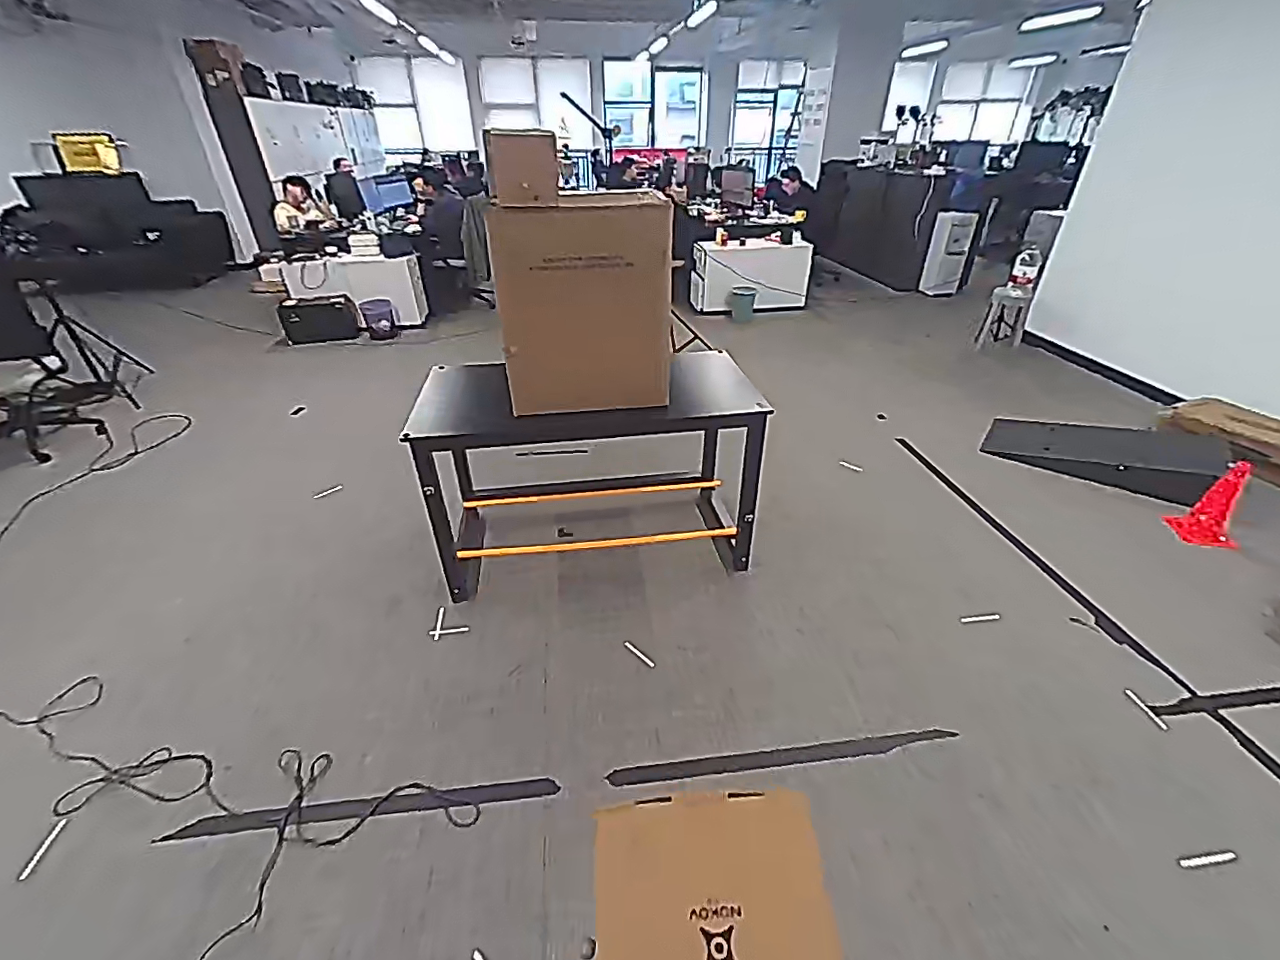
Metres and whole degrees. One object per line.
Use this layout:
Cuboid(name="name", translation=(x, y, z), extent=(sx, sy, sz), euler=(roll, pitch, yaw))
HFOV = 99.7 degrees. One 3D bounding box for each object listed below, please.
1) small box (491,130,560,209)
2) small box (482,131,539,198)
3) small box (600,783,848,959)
Cuboid(name="small box", translation=(-0.310, -0.845, 1.470), extent=(0.168, 0.176, 0.179), euler=(-6, 36, -10))
Cuboid(name="small box", translation=(-0.376, -0.944, 1.620), extent=(0.168, 0.176, 0.179), euler=(-7, 33, -11))
Cuboid(name="small box", translation=(0.055, 0.361, 0.420), extent=(0.168, 0.176, 0.179), euler=(-3, 45, -1))
